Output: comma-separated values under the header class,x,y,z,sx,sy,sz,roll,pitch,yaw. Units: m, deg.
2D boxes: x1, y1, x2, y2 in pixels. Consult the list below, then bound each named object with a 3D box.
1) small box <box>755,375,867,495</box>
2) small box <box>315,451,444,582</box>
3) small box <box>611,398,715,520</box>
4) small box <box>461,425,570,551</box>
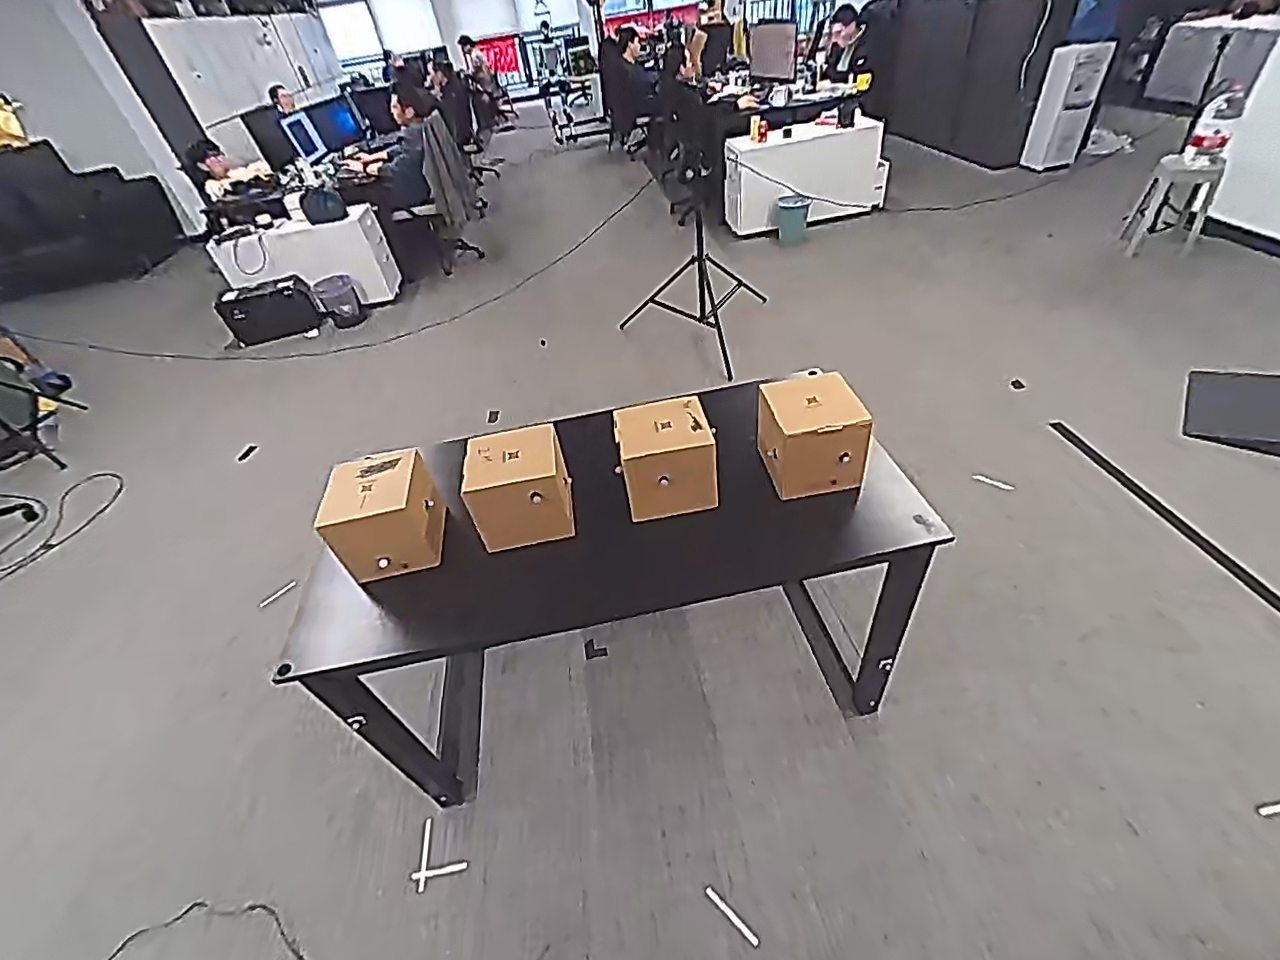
class,x,y,z,sx,sy,sz,roll,pitch,yaw
small box,0.335,-0.084,1.088,0.168,0.176,0.179,-10,41,0
small box,-0.501,0.072,1.072,0.168,0.176,0.179,-13,43,-3
small box,0.048,-0.039,1.093,0.179,0.176,0.168,-11,42,0
small box,-0.240,0.018,1.082,0.179,0.176,0.168,-12,42,-3
